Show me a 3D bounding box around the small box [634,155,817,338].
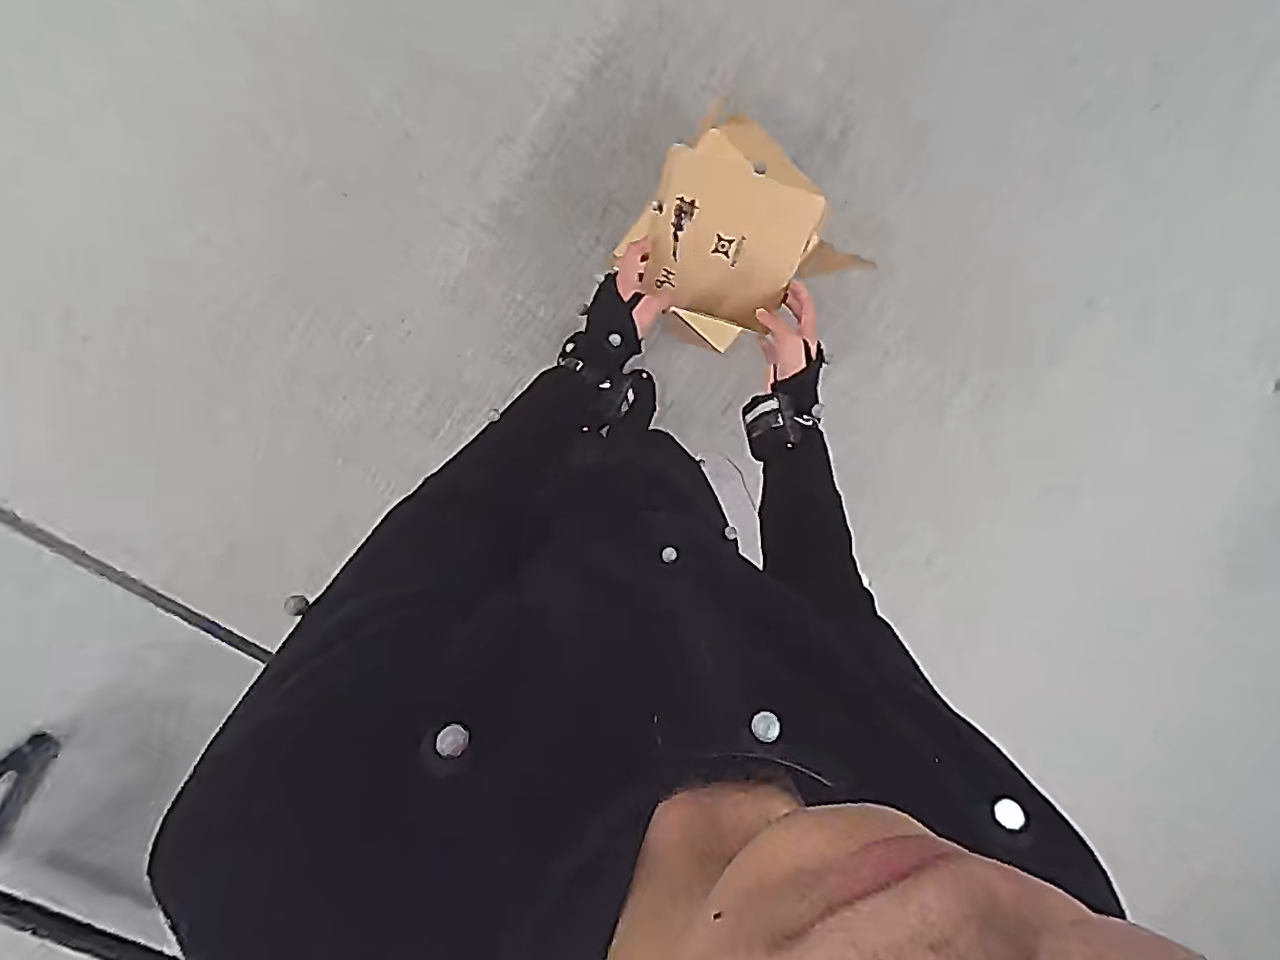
[{"bbox_3d":[0.097,-0.313,0.714,0.179,0.176,0.168,13,122,-10],"label":"small box"}]
